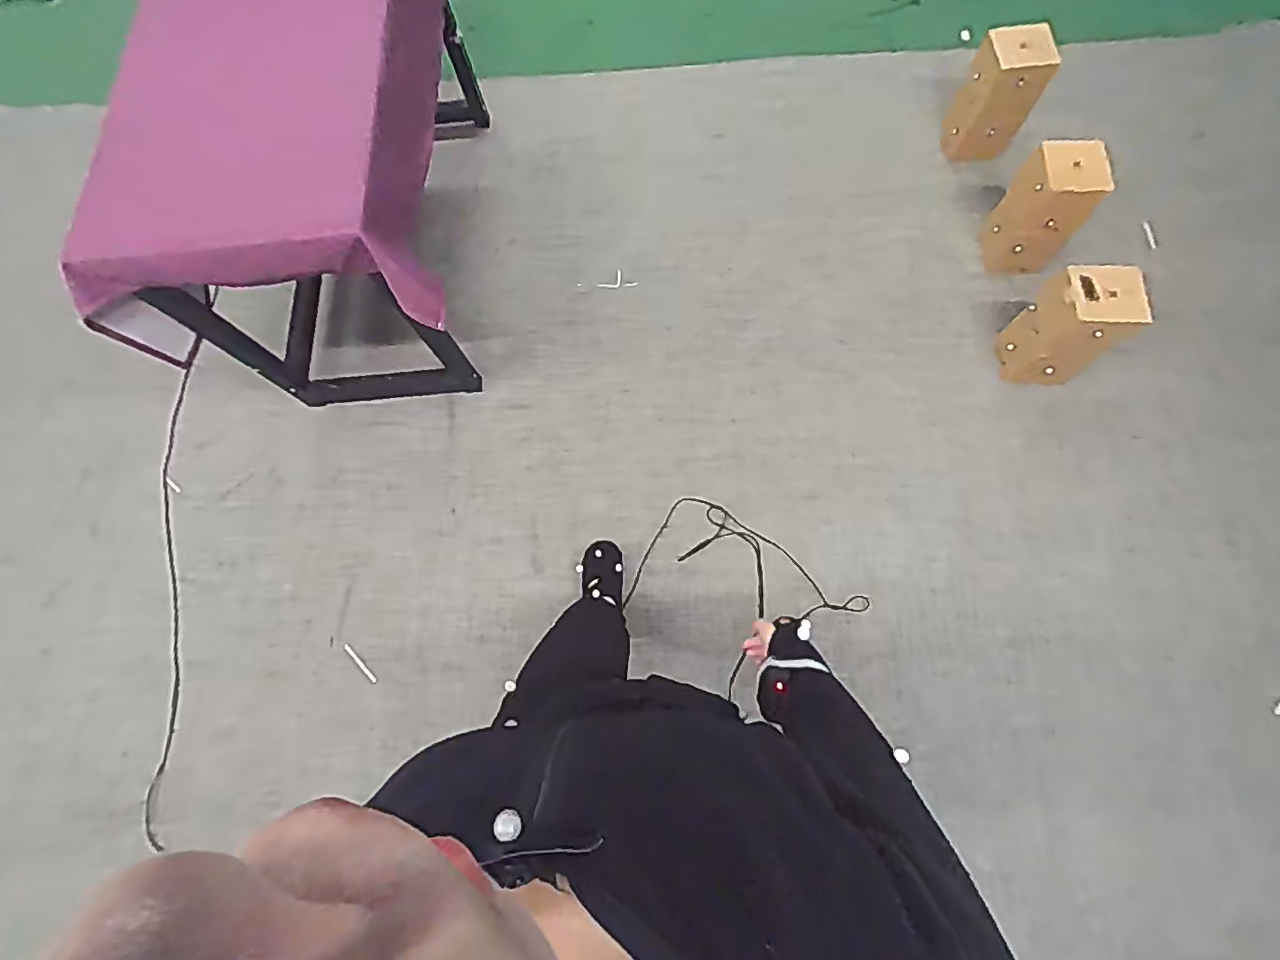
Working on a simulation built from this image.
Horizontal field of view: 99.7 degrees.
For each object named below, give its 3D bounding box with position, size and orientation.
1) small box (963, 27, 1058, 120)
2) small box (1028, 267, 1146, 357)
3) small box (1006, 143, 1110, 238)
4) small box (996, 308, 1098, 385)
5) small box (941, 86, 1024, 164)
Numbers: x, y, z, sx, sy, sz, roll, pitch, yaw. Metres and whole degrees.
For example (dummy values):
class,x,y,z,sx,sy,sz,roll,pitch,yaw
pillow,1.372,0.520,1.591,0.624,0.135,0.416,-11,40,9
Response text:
class,x,y,z,sx,sy,sz,roll,pitch,yaw
small box,1.138,-1.256,1.681,0.179,0.176,0.168,-3,74,2
small box,1.165,-0.438,1.429,0.179,0.176,0.168,3,73,3
small box,1.184,-0.825,1.547,0.168,0.176,0.179,3,73,4
small box,1.179,-0.388,1.586,0.179,0.176,0.168,1,74,4
small box,1.150,-1.207,1.838,0.179,0.176,0.168,-2,74,2
